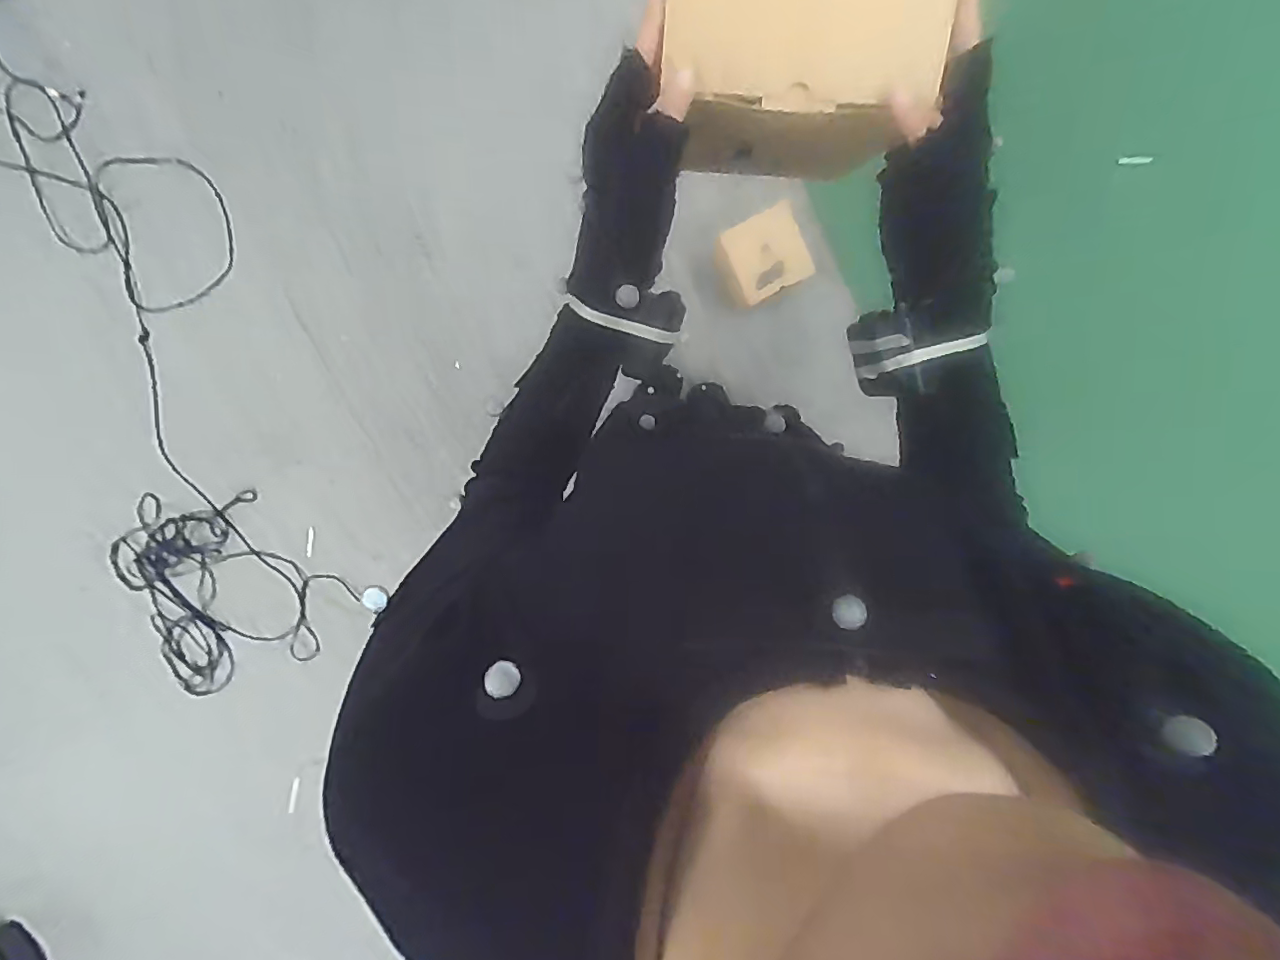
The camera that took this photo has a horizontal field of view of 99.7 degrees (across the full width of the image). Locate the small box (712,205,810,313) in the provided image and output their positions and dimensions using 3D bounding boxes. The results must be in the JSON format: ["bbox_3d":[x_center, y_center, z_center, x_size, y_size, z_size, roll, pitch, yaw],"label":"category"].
[{"bbox_3d":[0.284,-0.517,1.297,0.168,0.176,0.179,-25,97,7],"label":"small box"}]

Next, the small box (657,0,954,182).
[{"bbox_3d":[0.100,-0.328,0.374,0.168,0.176,0.179,4,107,0],"label":"small box"}]
